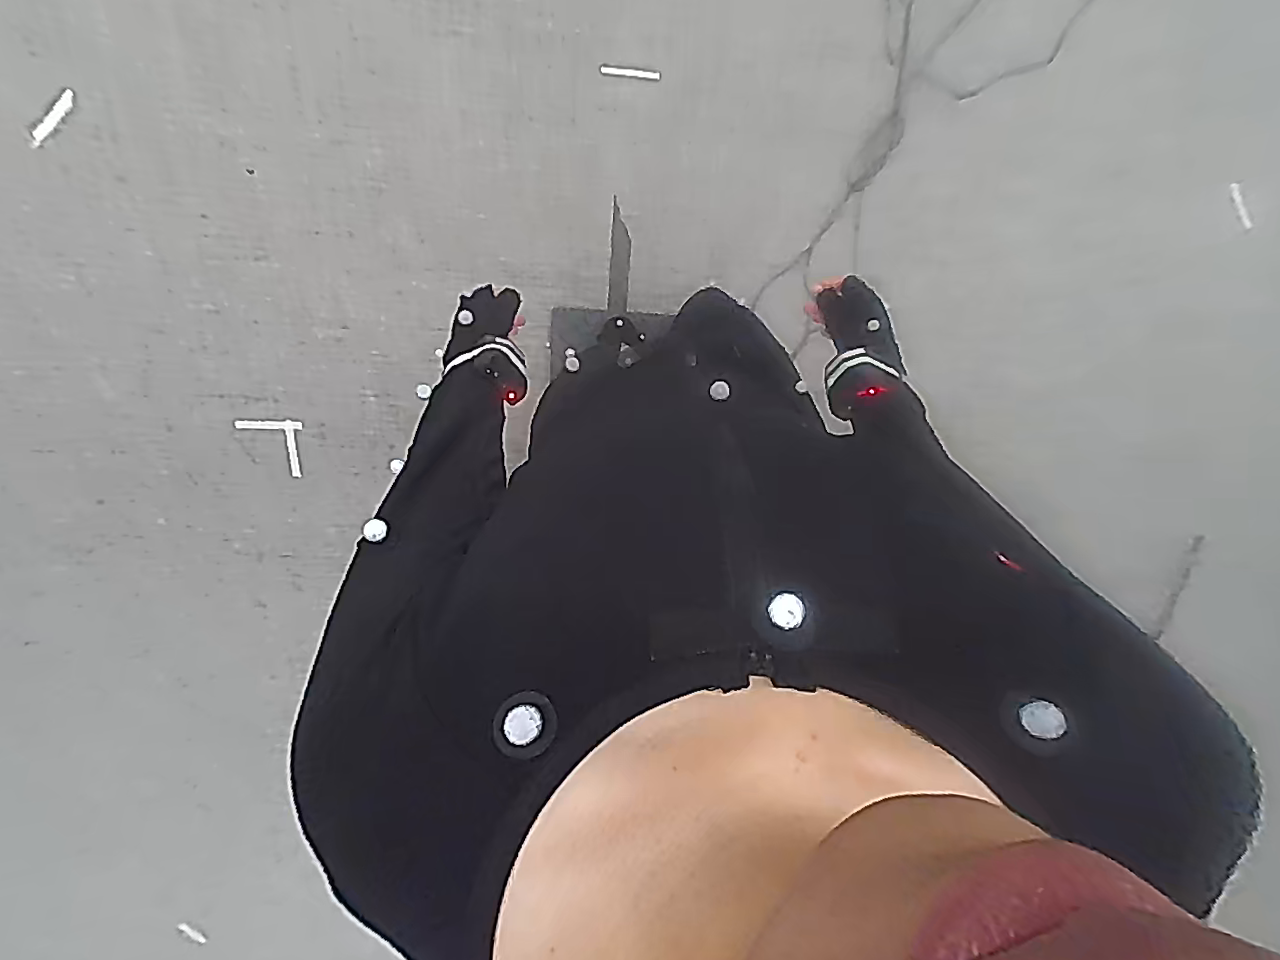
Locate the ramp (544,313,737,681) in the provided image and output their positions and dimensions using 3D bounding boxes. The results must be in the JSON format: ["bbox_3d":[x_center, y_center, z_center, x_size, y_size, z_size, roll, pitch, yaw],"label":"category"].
[{"bbox_3d":[-0.007,0.067,1.475,0.509,0.206,0.991,1,106,-2],"label":"ramp"}]
